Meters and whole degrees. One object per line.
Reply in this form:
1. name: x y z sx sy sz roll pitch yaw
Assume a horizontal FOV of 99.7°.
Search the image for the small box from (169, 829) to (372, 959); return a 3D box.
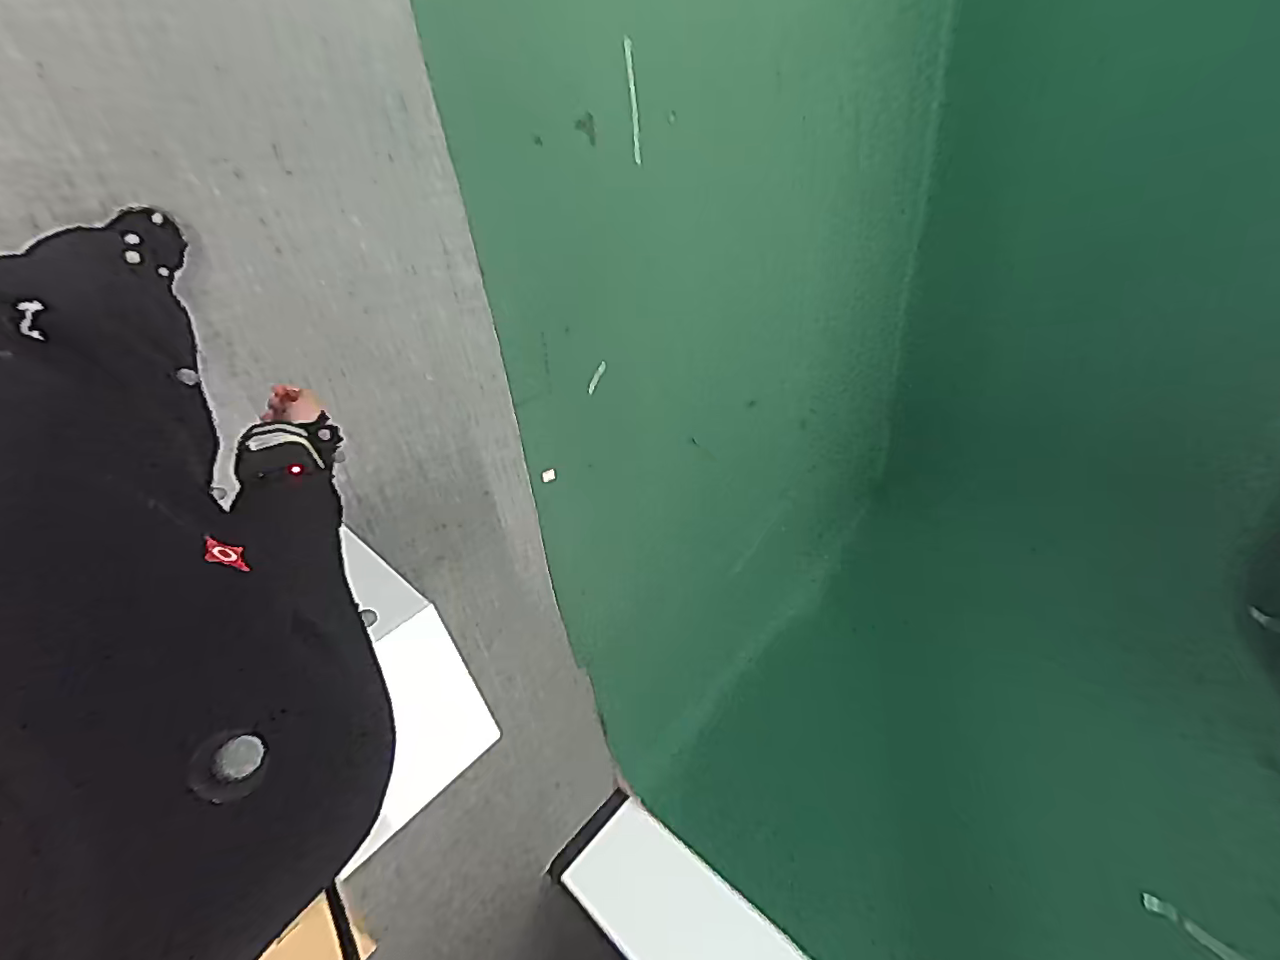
1. small box: -0.533 0.656 0.784 0.168 0.176 0.179 -35 131 -34
